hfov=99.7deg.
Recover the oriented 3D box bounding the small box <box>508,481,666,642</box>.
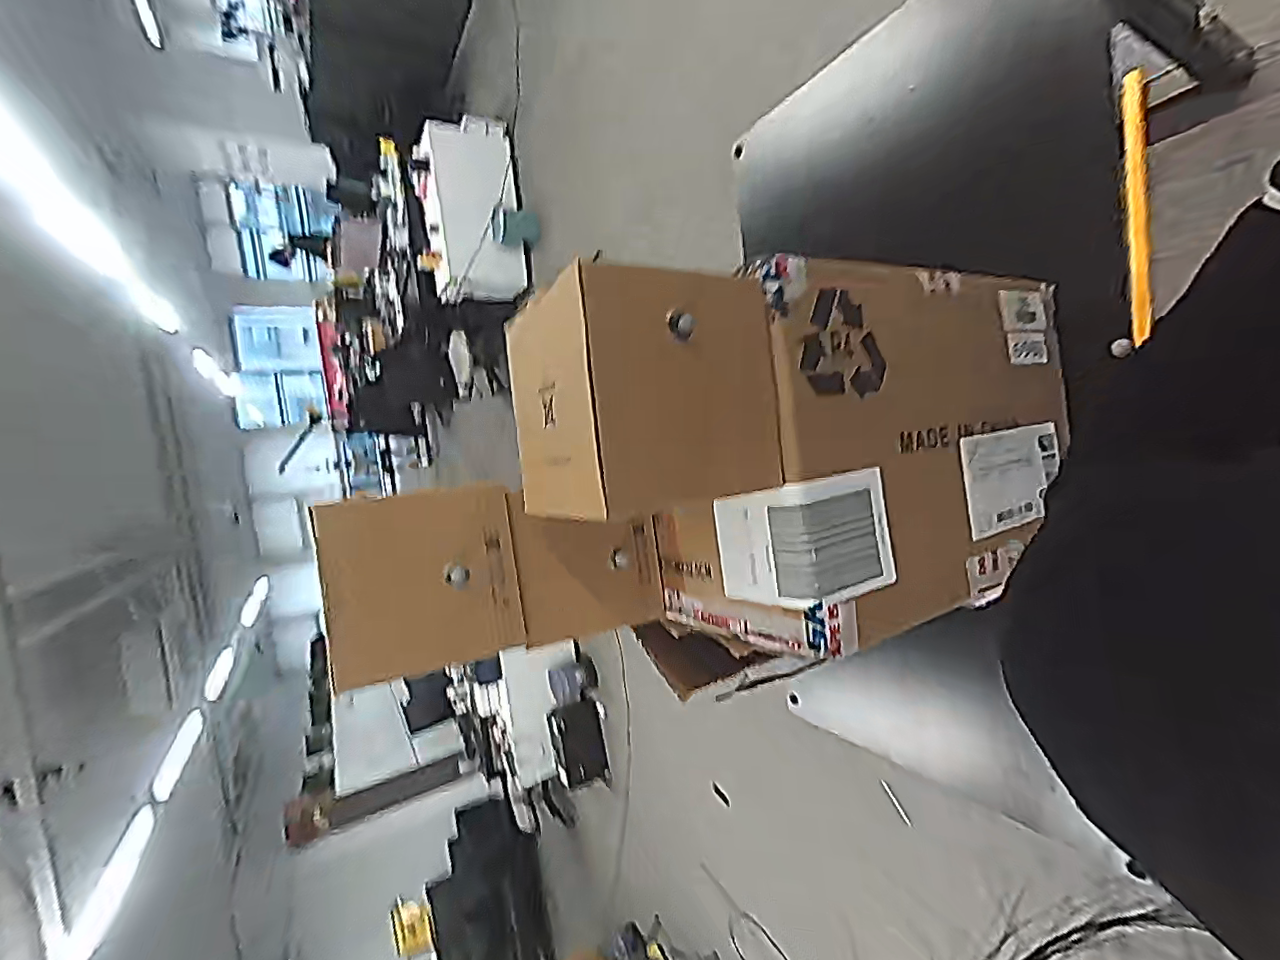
[{"bbox_3d":[-0.088,0.082,0.658,0.179,0.176,0.168,-11,87,61],"label":"small box"}]

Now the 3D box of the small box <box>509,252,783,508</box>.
[{"bbox_3d":[0.001,-0.075,0.471,0.168,0.176,0.179,-4,95,60],"label":"small box"}]

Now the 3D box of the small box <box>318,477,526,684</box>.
[{"bbox_3d":[-0.229,0.095,0.573,0.179,0.176,0.168,-15,84,62],"label":"small box"}]
